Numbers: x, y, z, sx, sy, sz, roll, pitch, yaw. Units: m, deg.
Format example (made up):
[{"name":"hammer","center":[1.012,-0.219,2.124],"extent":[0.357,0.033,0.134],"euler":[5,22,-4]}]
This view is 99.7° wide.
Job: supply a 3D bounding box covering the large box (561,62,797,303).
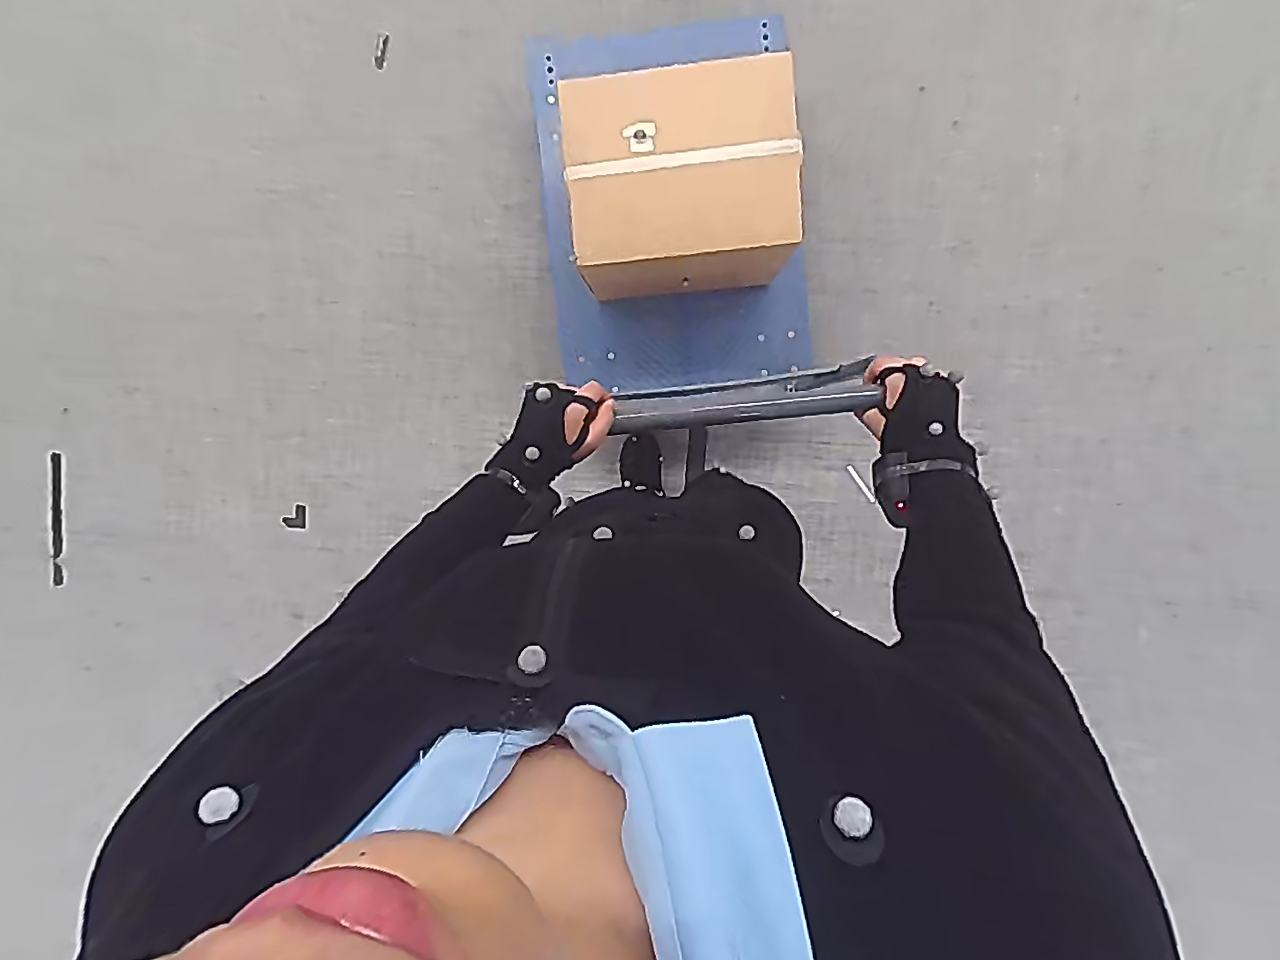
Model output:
[{"name":"large box","center":[0.081,-0.570,1.111],"extent":[0.408,0.320,0.320],"euler":[-5,95,4]}]
